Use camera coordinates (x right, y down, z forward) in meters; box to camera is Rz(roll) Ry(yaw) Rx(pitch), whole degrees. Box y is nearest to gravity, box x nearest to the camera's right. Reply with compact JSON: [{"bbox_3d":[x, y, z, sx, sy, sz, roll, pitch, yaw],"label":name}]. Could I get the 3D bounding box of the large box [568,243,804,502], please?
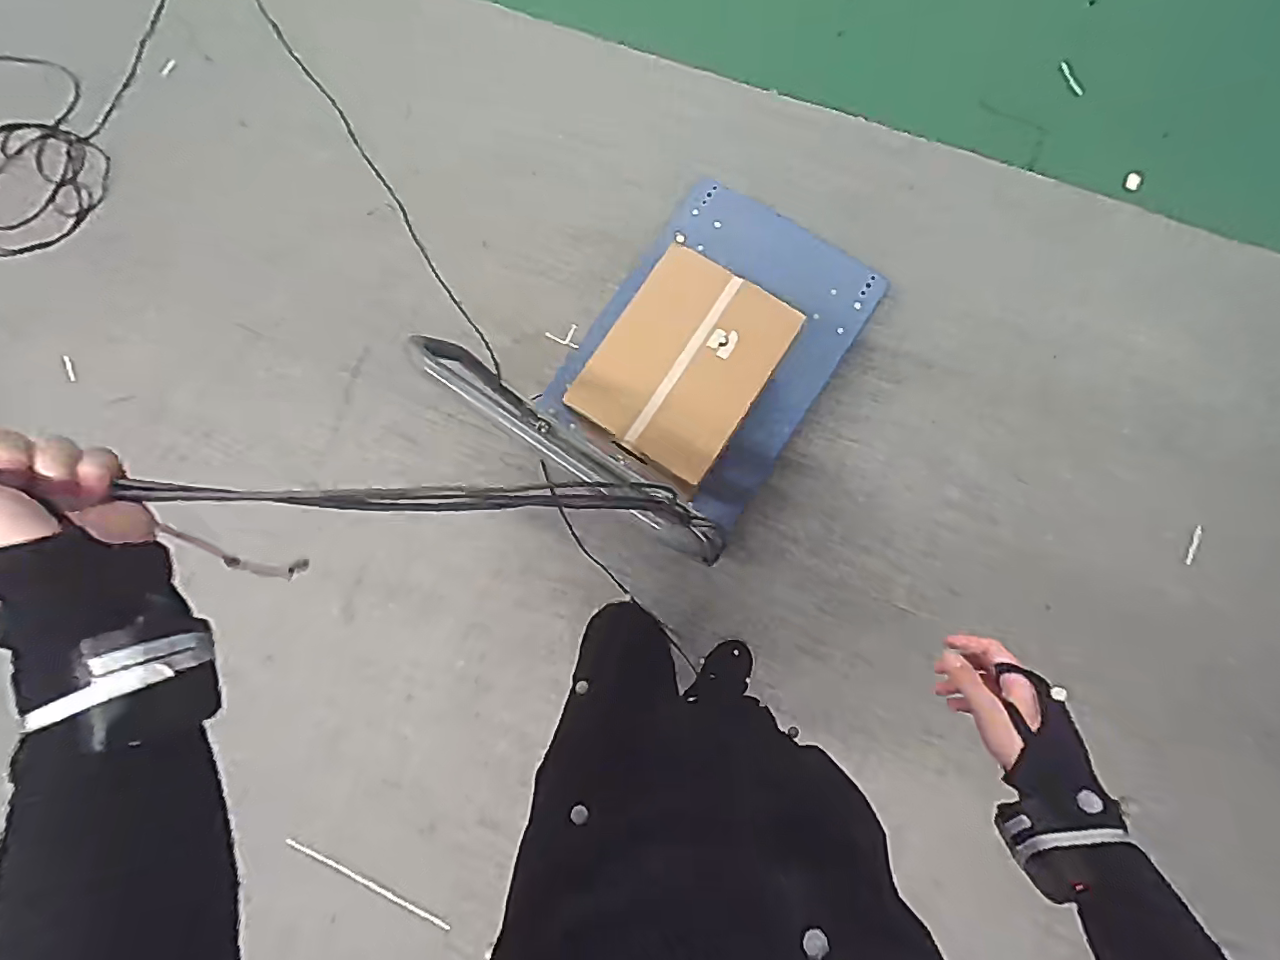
[{"bbox_3d":[0.097,-0.210,1.195,0.320,0.320,0.408,33,84,7],"label":"large box"}]
